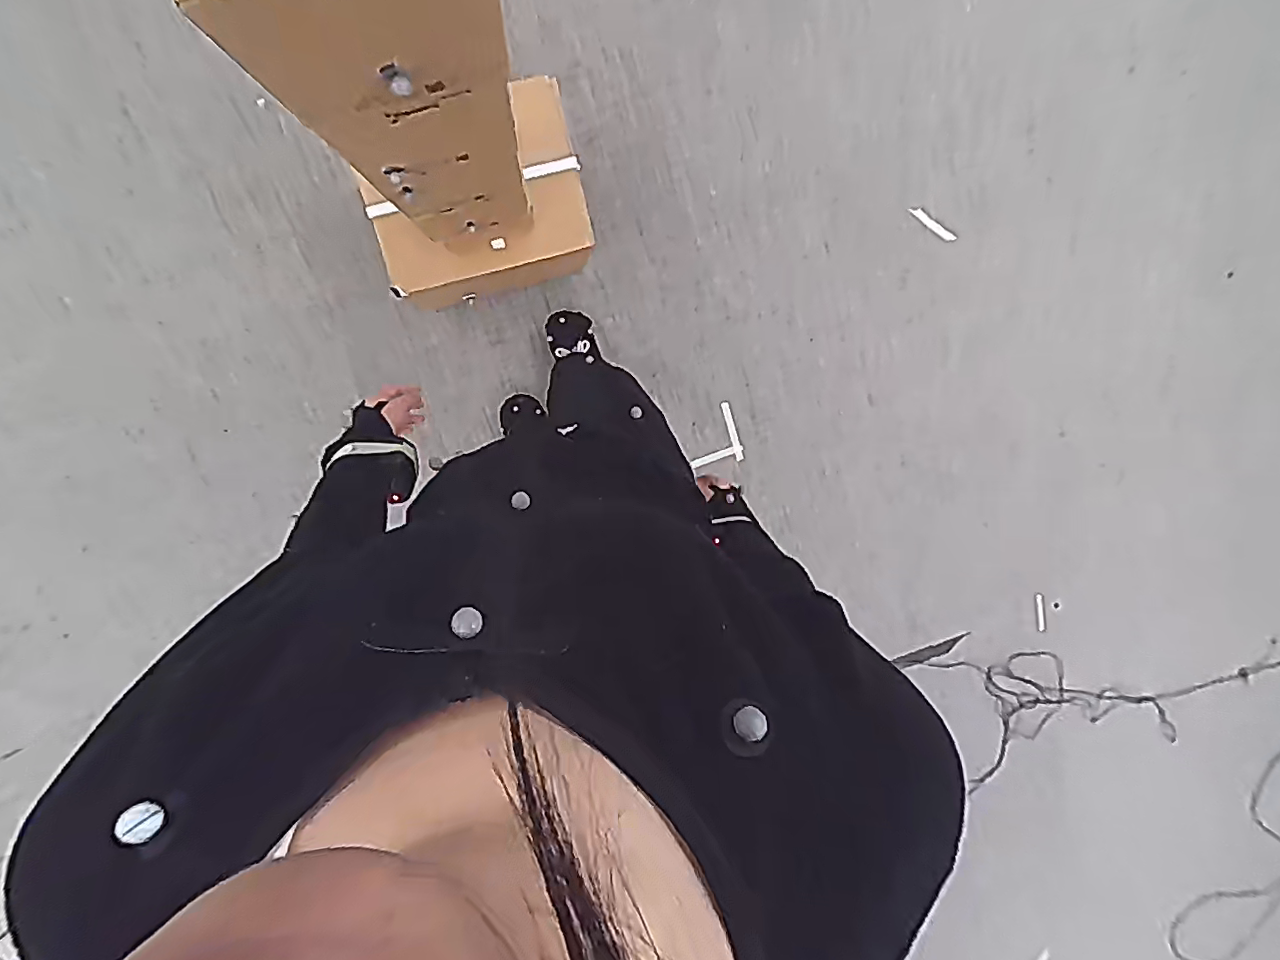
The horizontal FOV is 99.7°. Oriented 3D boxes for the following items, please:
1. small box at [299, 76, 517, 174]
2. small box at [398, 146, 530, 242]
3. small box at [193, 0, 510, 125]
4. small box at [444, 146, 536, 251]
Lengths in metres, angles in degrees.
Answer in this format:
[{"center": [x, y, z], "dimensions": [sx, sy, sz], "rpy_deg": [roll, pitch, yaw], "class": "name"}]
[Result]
[{"center": [-0.215, -0.400, 0.488], "dimensions": [0.168, 0.176, 0.179], "rpy_deg": [-16, 105, -6], "class": "small box"}, {"center": [-0.268, -0.477, 0.803], "dimensions": [0.168, 0.176, 0.179], "rpy_deg": [-18, 106, -5], "class": "small box"}, {"center": [-0.189, -0.360, 0.330], "dimensions": [0.168, 0.176, 0.179], "rpy_deg": [-18, 106, -4], "class": "small box"}, {"center": [-0.292, -0.522, 0.957], "dimensions": [0.179, 0.176, 0.168], "rpy_deg": [-19, 106, -5], "class": "small box"}]
